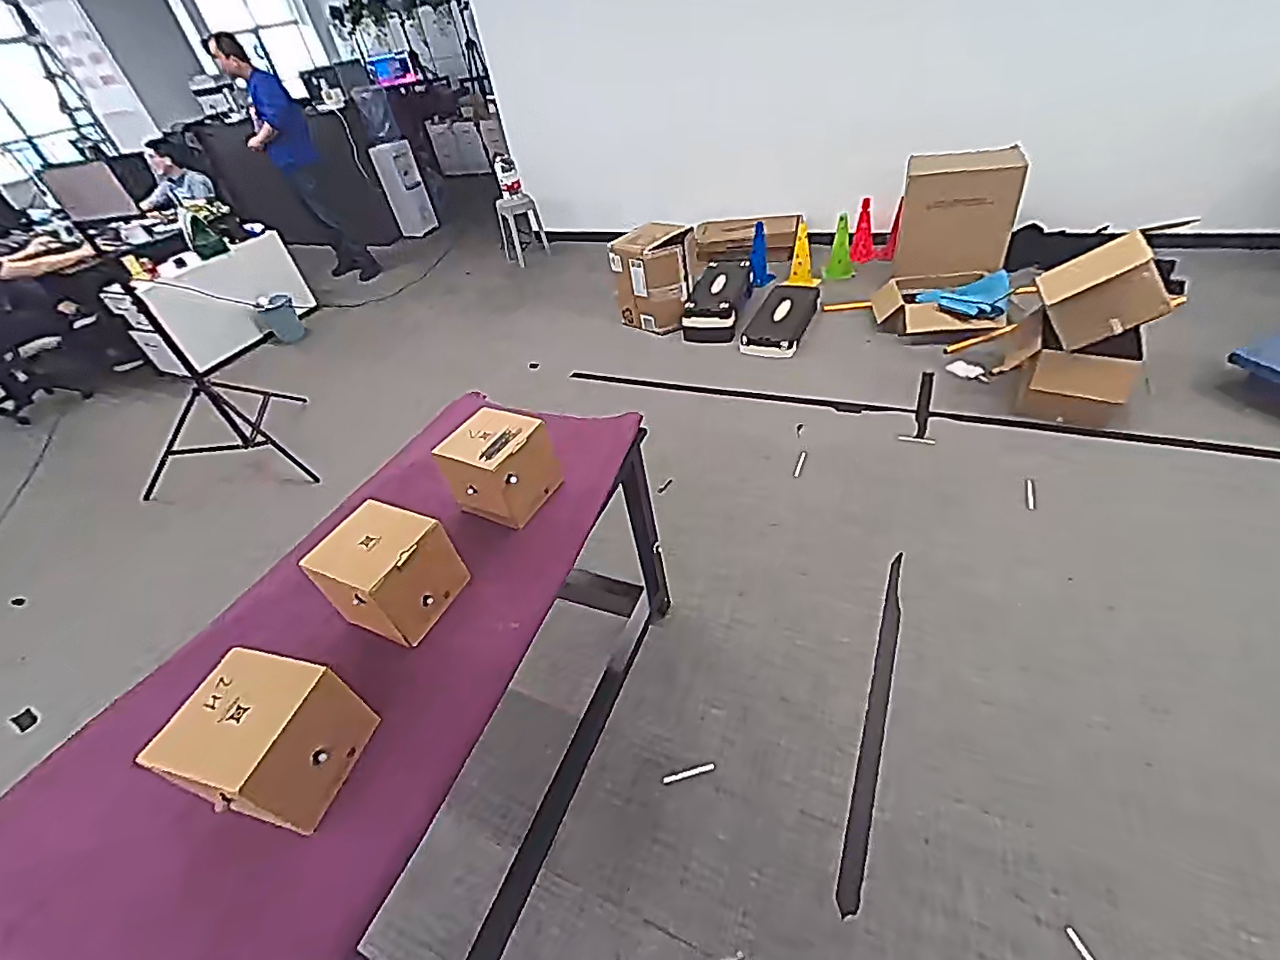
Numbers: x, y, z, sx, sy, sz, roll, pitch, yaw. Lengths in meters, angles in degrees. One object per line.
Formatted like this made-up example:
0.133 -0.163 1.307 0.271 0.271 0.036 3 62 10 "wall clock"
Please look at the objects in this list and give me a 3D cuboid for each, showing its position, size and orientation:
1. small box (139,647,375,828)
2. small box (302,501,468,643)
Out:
-0.521 0.365 0.766 0.179 0.176 0.168 5 43 17 "small box"
-0.449 0.166 0.976 0.179 0.176 0.168 12 47 23 "small box"
